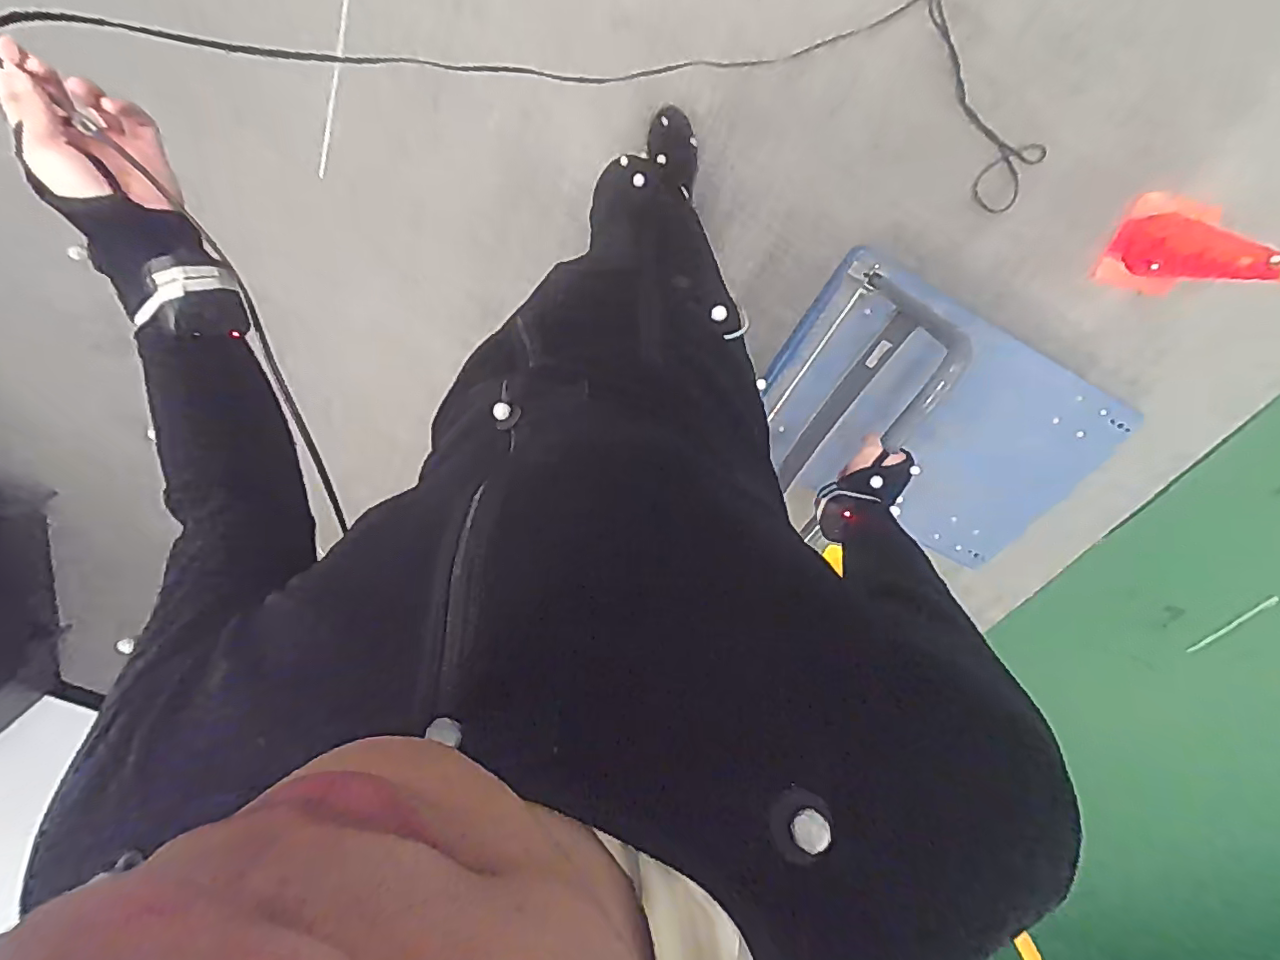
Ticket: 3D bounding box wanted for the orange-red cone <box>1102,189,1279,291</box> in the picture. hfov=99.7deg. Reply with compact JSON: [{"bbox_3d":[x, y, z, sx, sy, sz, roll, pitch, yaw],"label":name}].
[{"bbox_3d":[1.231,-0.482,1.142,0.198,0.360,0.199,13,120,-3],"label":"orange-red cone"}]
